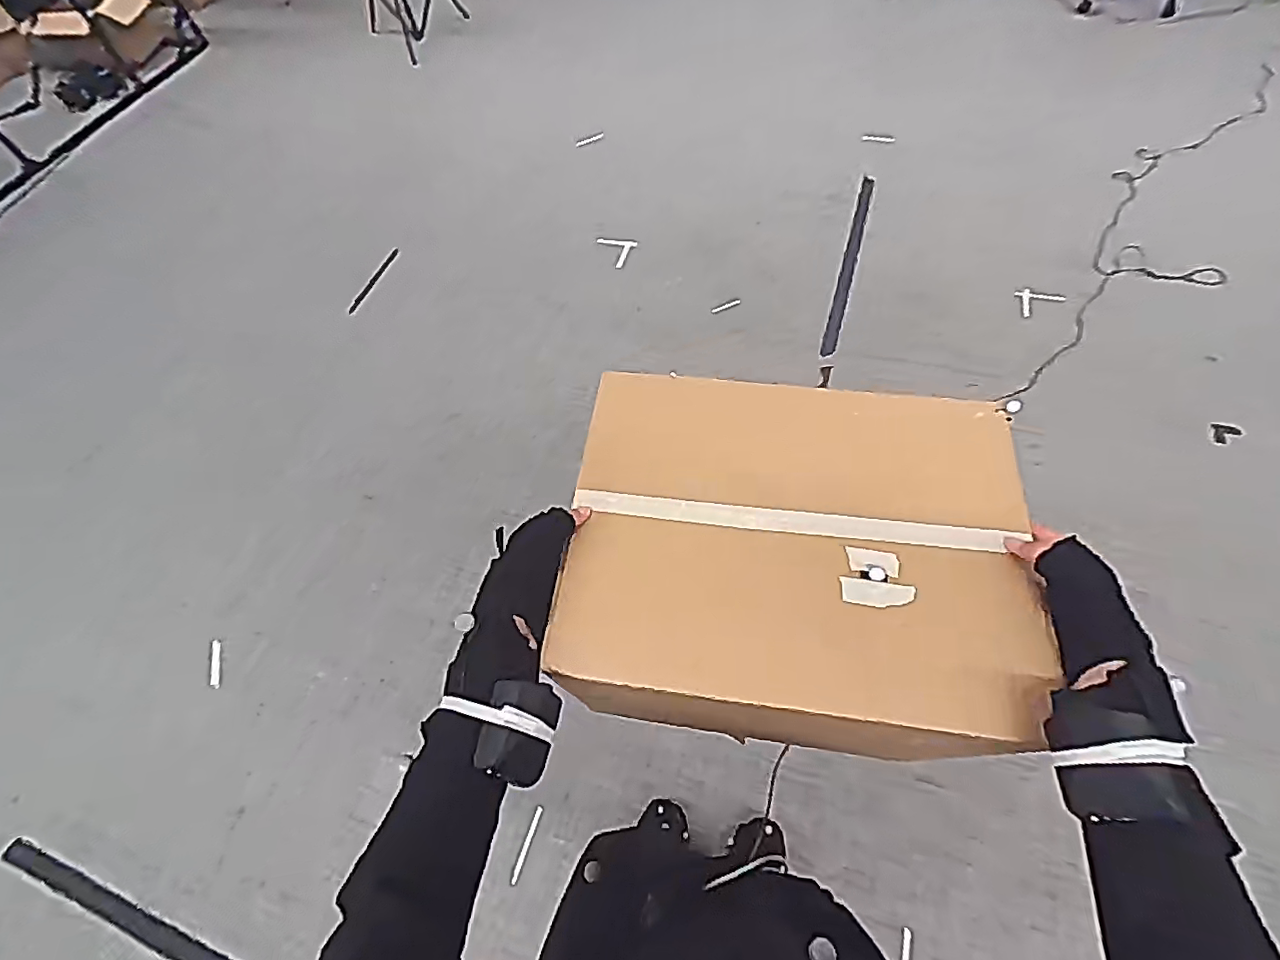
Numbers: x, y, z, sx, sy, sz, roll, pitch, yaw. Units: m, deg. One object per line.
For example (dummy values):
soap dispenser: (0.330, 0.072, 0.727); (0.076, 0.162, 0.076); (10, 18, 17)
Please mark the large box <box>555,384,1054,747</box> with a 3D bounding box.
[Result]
large box: (0.145, 0.113, 0.632); (0.408, 0.320, 0.320); (5, 63, 6)
